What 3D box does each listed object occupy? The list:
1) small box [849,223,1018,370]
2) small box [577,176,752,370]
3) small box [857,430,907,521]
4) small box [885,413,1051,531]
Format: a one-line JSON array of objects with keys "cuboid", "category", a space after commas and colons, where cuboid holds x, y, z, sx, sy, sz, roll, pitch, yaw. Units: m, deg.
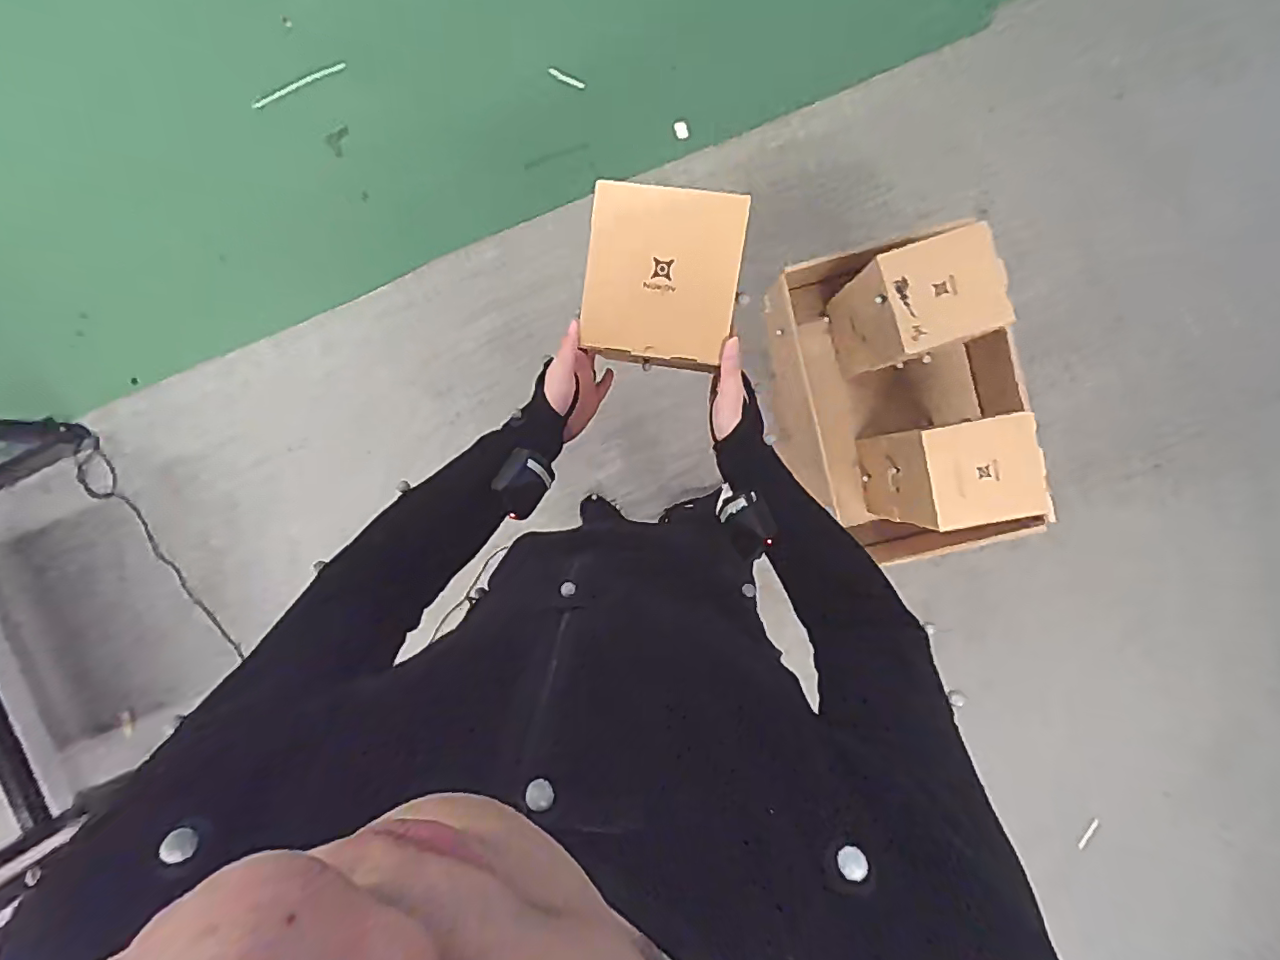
[{"cuboid": [0.485, -0.300, 0.918, 0.179, 0.176, 0.168, -17, 91, 3], "category": "small box"}, {"cuboid": [0.028, -0.232, 0.647, 0.168, 0.176, 0.179, 8, 101, 3], "category": "small box"}, {"cuboid": [0.562, -0.019, 1.091, 0.179, 0.176, 0.168, -10, 92, 4], "category": "small box"}, {"cuboid": [0.551, -0.017, 0.928, 0.179, 0.176, 0.168, -10, 92, 4], "category": "small box"}]
